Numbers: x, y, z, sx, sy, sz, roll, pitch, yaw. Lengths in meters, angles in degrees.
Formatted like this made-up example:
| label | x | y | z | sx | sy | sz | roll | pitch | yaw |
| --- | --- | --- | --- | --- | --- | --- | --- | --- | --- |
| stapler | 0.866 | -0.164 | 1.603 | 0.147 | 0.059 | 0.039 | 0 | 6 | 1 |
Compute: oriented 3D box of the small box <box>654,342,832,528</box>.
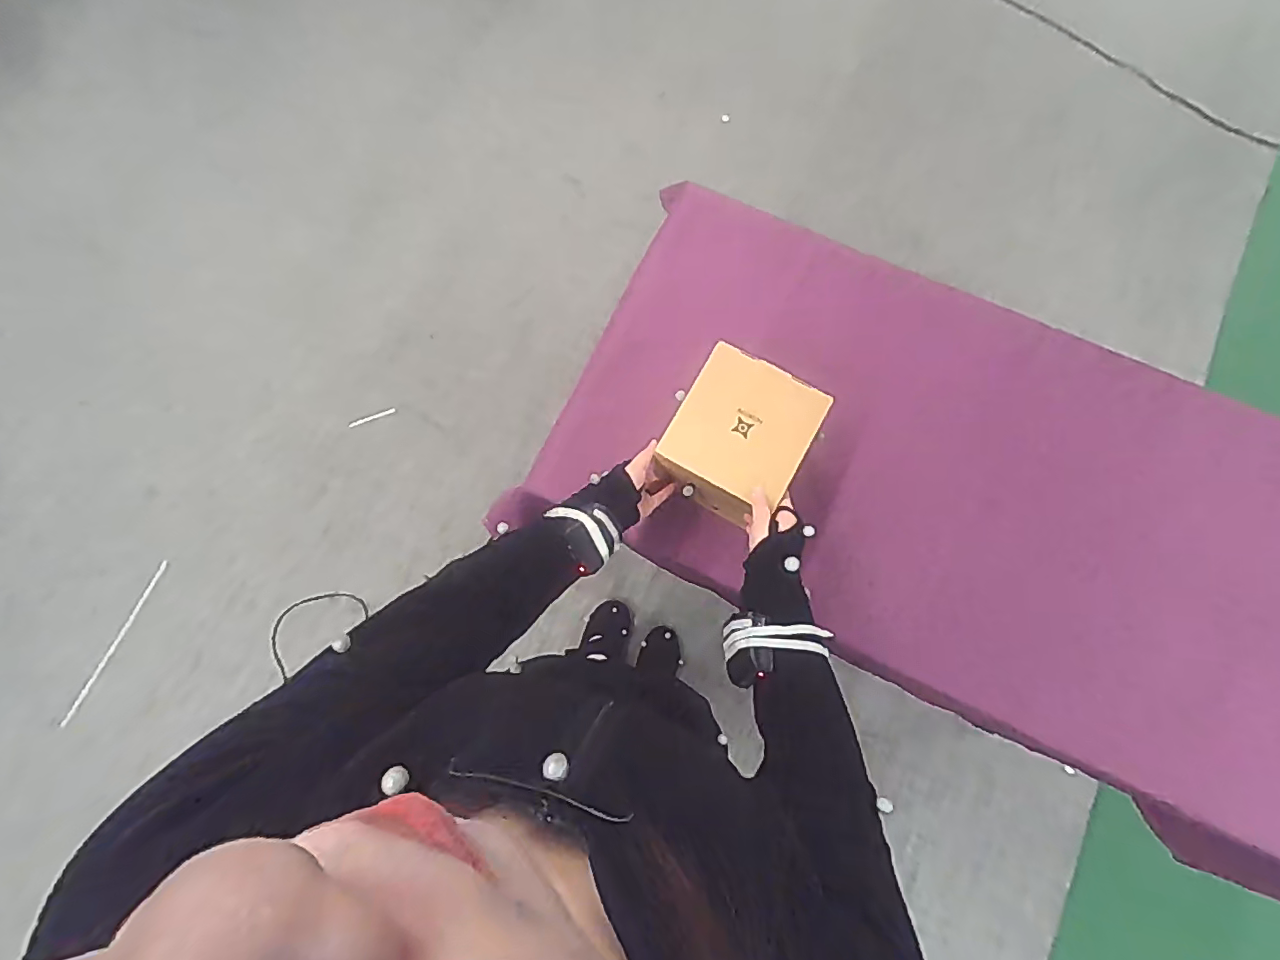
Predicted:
| label | x | y | z | sx | sy | sz | roll | pitch | yaw |
| --- | --- | --- | --- | --- | --- | --- | --- | --- | --- |
| small box | 0.133 | -0.050 | 0.751 | 0.168 | 0.176 | 0.179 | 29 | 79 | 7 |
